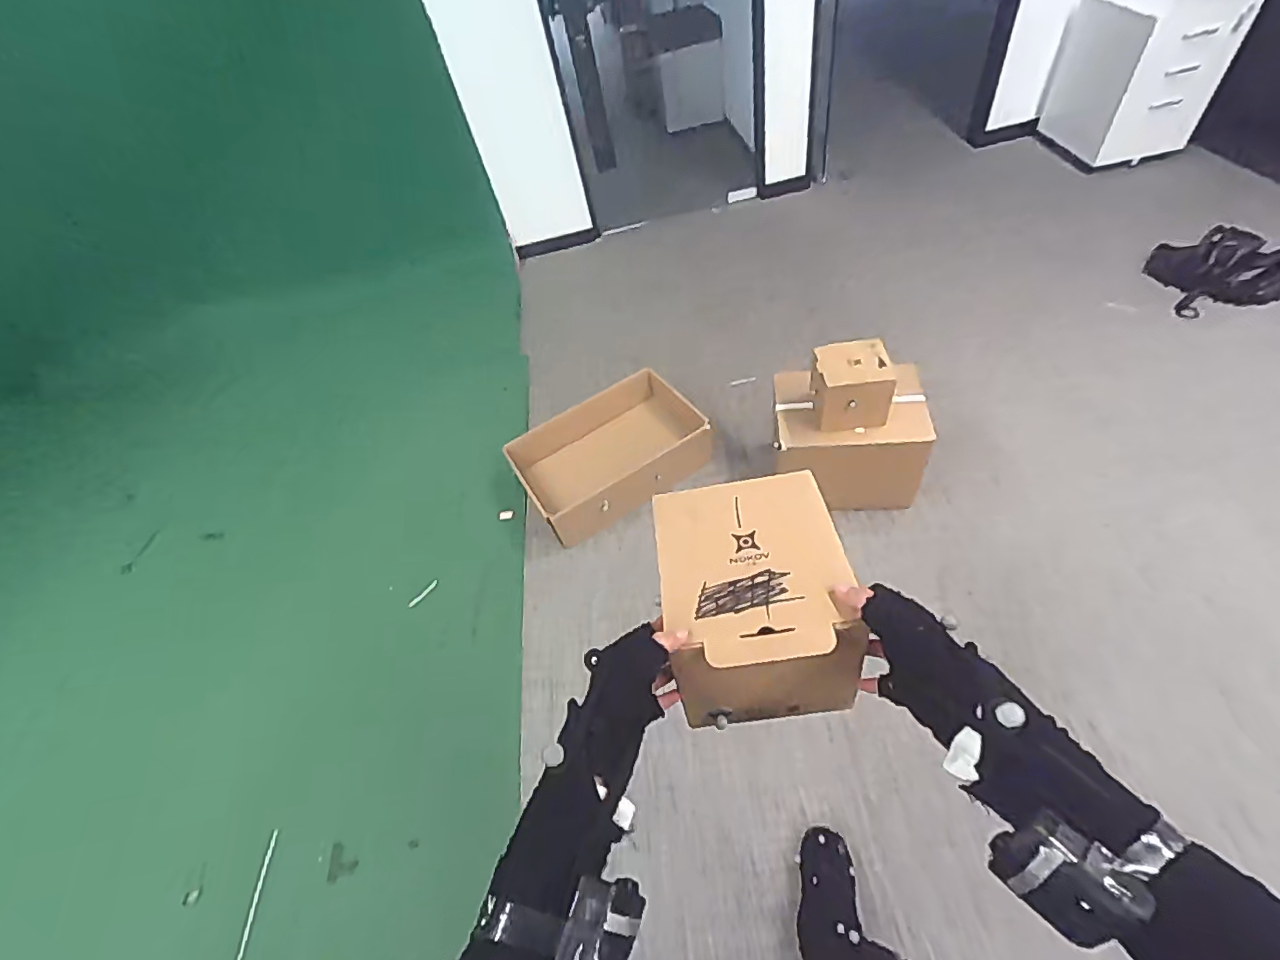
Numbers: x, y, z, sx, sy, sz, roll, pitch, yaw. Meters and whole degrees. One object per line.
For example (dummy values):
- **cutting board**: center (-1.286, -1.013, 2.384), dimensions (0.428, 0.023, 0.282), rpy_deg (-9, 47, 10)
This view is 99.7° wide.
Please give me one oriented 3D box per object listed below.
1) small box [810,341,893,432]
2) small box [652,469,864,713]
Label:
- **small box**: center (0.563, -0.248, 1.467), dimensions (0.179, 0.176, 0.168), rpy_deg (-7, 51, 8)
- **small box**: center (0.111, 0.118, 0.548), dimensions (0.168, 0.176, 0.179), rpy_deg (-10, 43, 5)
